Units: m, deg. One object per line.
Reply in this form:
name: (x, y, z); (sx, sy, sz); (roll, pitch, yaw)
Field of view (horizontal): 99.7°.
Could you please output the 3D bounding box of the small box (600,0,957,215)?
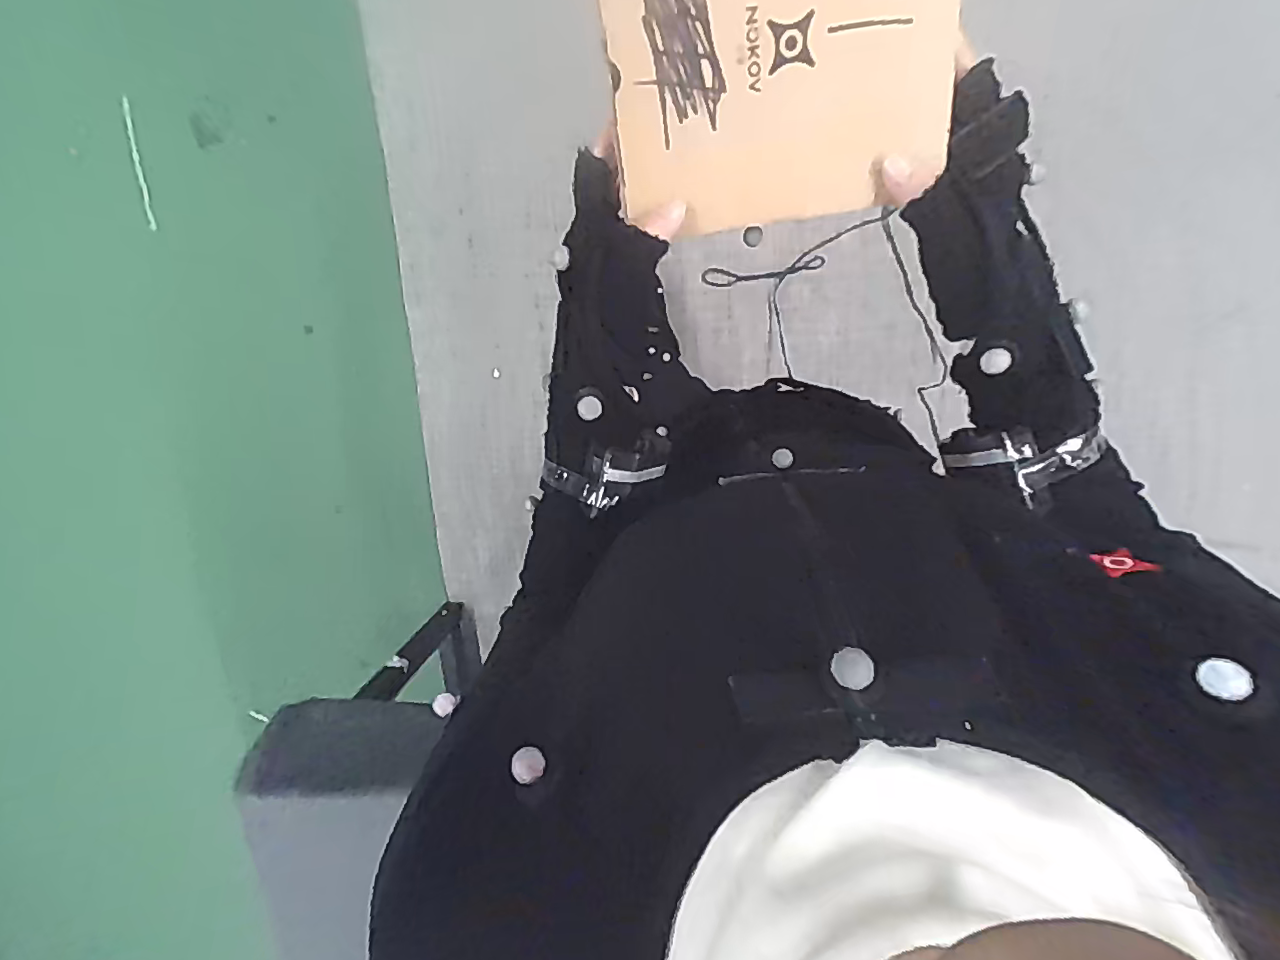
small box: (0.078, -0.269, 0.344); (0.179, 0.176, 0.168); (-4, 117, 9)
